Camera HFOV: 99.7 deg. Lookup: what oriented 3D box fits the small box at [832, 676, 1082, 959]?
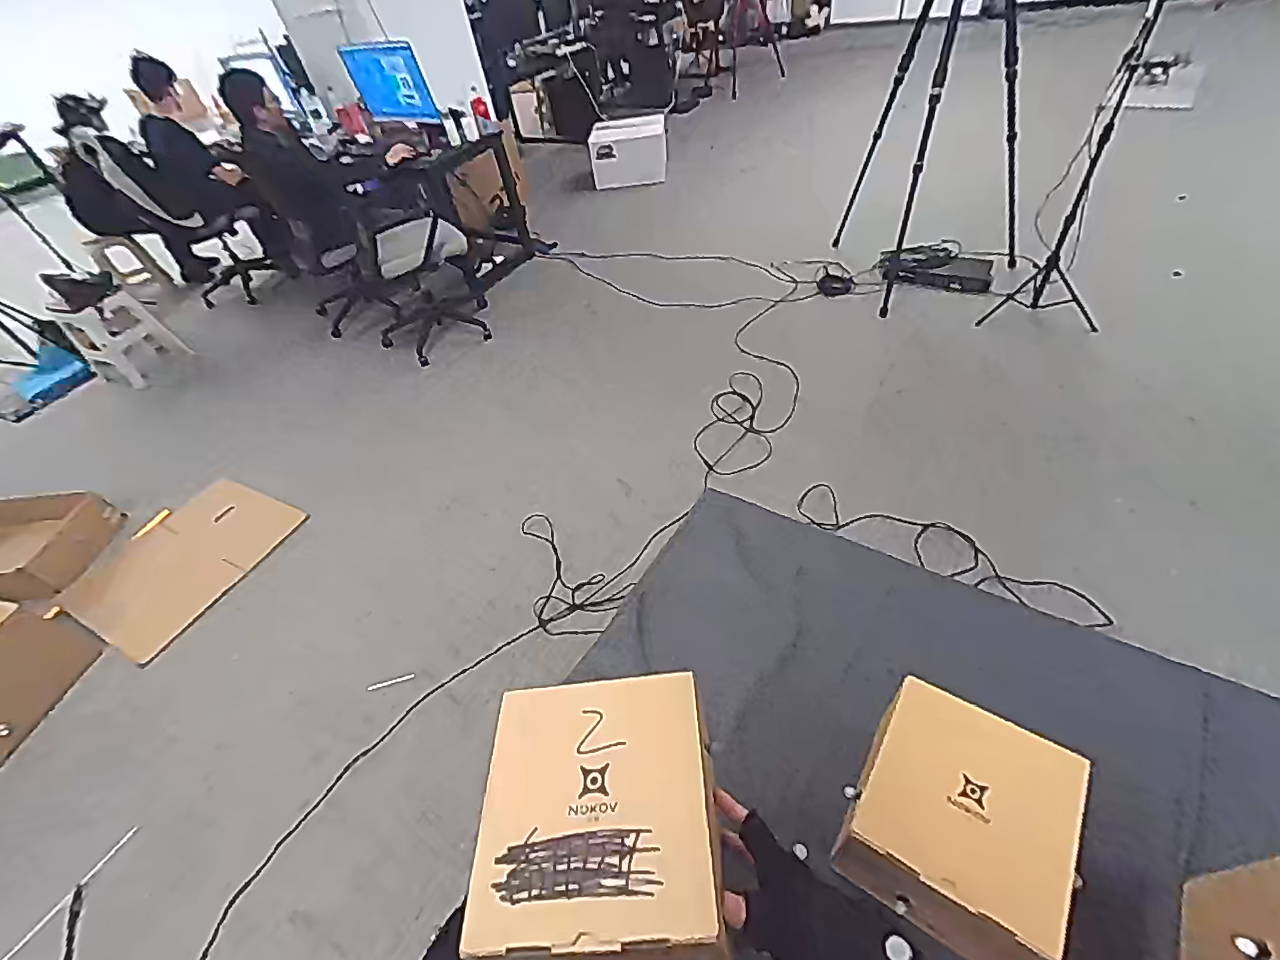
[{"bbox_3d":[0.315,0.348,0.562,0.168,0.176,0.179,22,55,27],"label":"small box"}]
